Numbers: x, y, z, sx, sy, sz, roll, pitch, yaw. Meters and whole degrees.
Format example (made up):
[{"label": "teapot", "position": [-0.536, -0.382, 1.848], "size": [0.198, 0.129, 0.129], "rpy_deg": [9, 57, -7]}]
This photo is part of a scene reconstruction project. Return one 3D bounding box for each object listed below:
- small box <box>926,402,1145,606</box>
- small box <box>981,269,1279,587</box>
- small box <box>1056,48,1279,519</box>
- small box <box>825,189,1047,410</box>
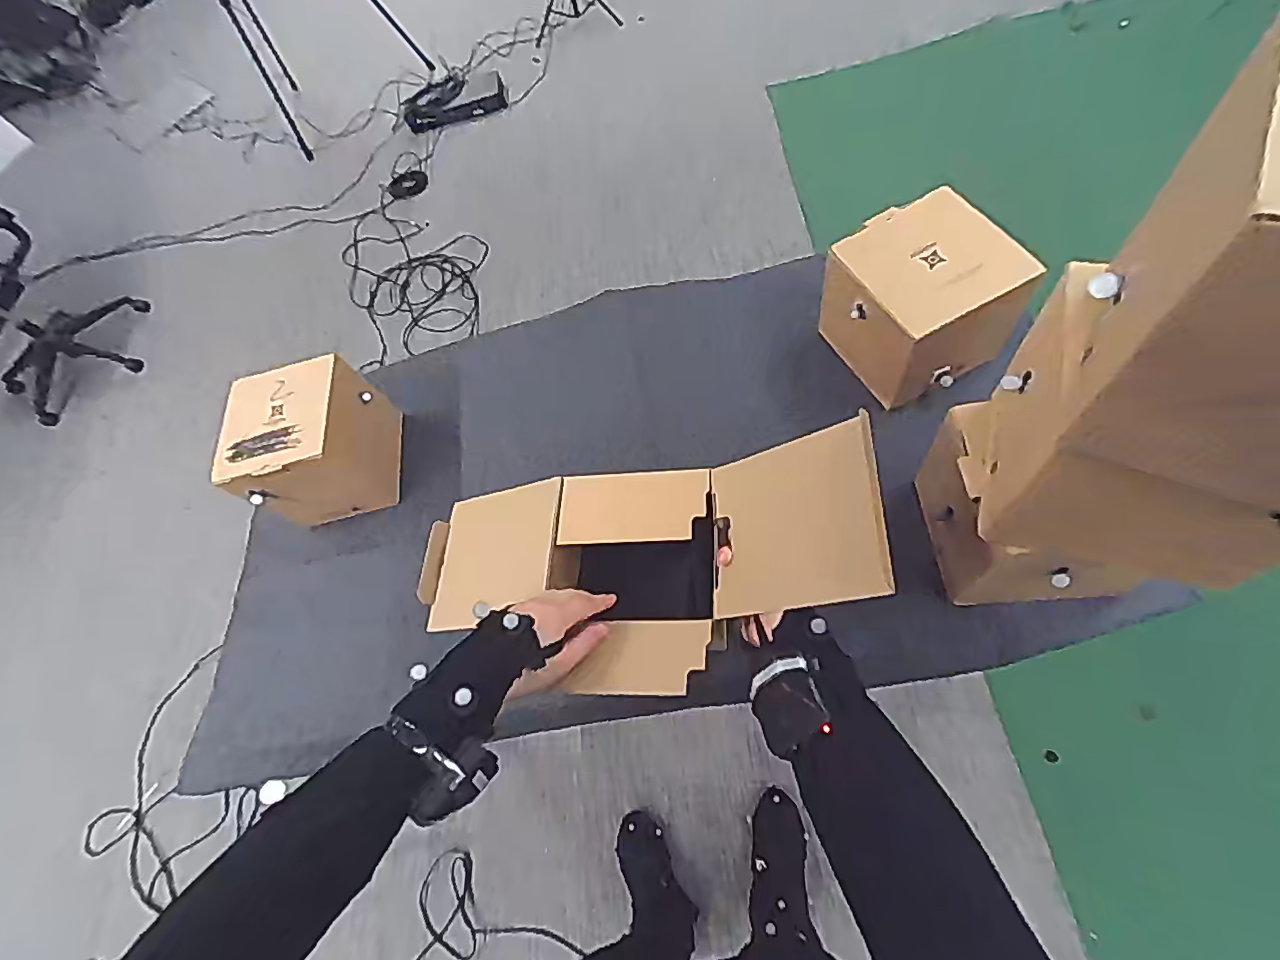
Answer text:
[{"label": "small box", "position": [0.419, 0.028, 0.566], "size": [0.179, 0.176, 0.168], "rpy_deg": [-6, 61, 11]}, {"label": "small box", "position": [0.389, -0.034, 0.417], "size": [0.179, 0.176, 0.168], "rpy_deg": [14, 66, 19]}, {"label": "small box", "position": [0.356, -0.089, 0.263], "size": [0.179, 0.176, 0.168], "rpy_deg": [23, 69, 24]}, {"label": "small box", "position": [0.359, -0.225, 0.703], "size": [0.168, 0.176, 0.179], "rpy_deg": [-28, 64, 2]}]
